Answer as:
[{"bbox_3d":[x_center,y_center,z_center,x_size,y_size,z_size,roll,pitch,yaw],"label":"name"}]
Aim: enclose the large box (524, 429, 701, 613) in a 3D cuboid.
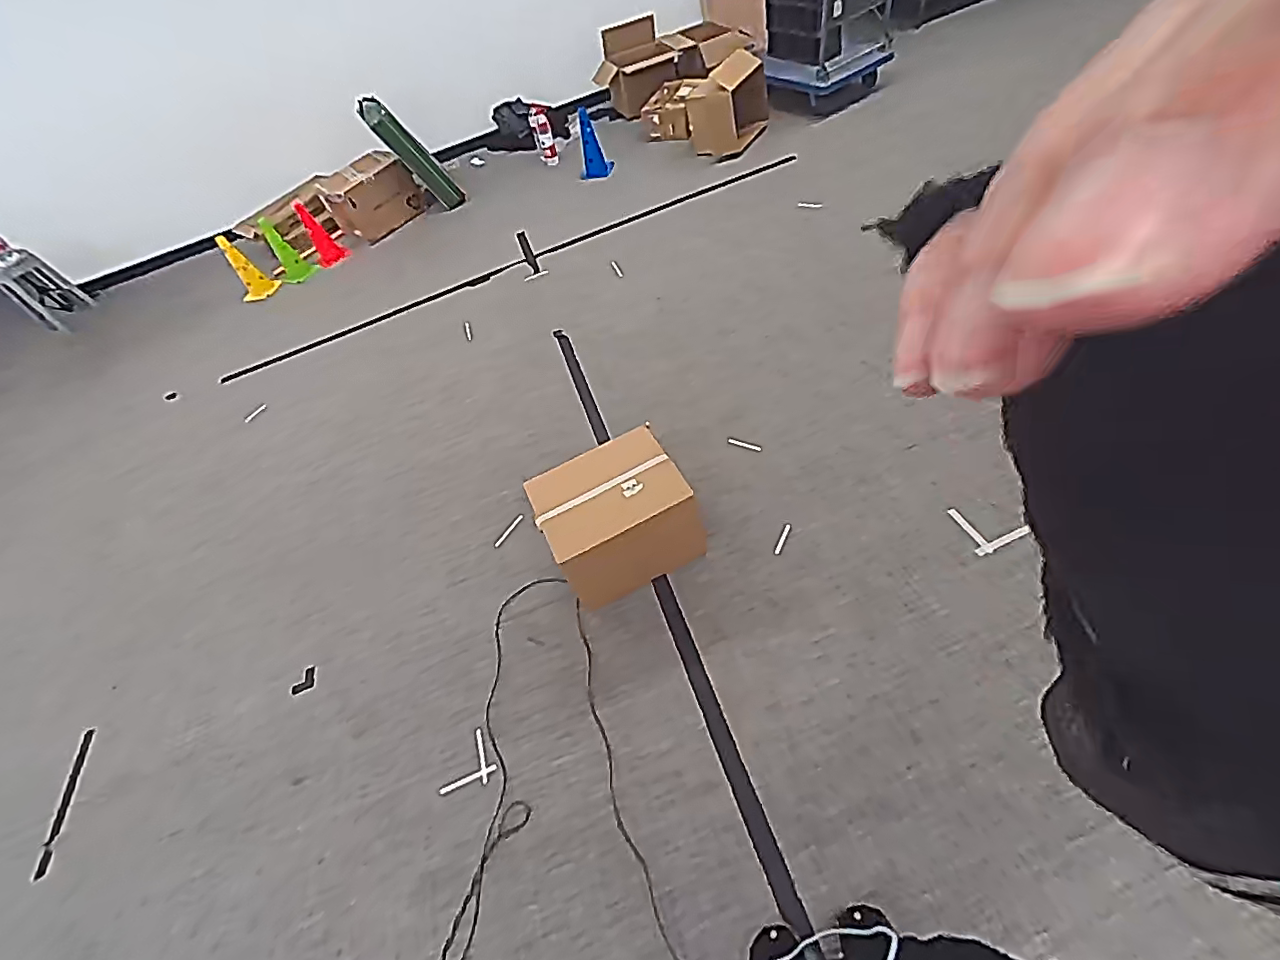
[{"bbox_3d":[-0.073,0.124,1.609,0.408,0.320,0.320,-26,52,-8],"label":"large box"}]
